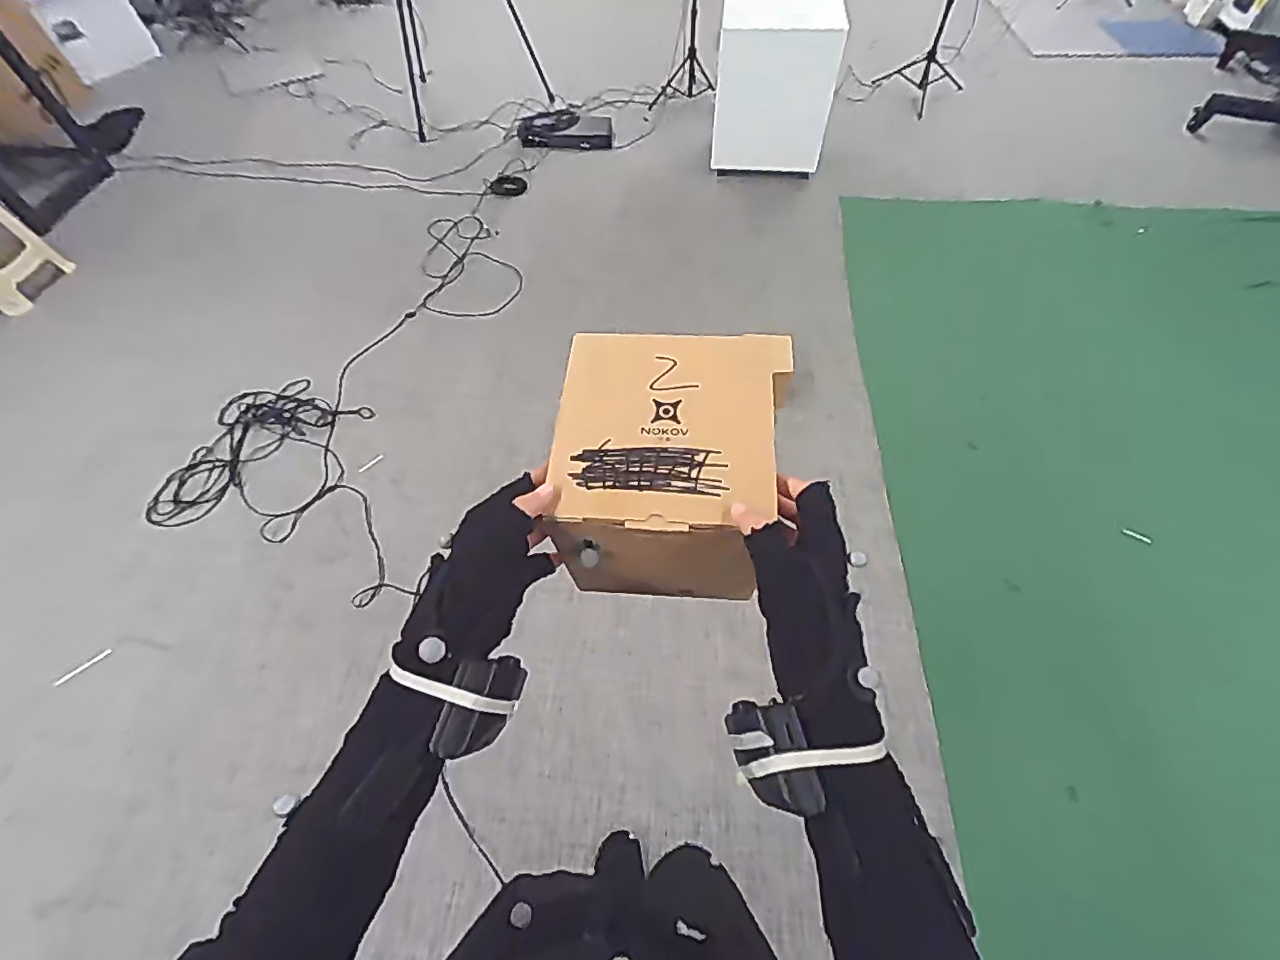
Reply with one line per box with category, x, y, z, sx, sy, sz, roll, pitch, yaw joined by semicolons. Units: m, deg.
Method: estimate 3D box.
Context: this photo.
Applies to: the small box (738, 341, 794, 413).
small box;0.432;-0.356;1.876;0.168;0.176;0.179;4;57;5
